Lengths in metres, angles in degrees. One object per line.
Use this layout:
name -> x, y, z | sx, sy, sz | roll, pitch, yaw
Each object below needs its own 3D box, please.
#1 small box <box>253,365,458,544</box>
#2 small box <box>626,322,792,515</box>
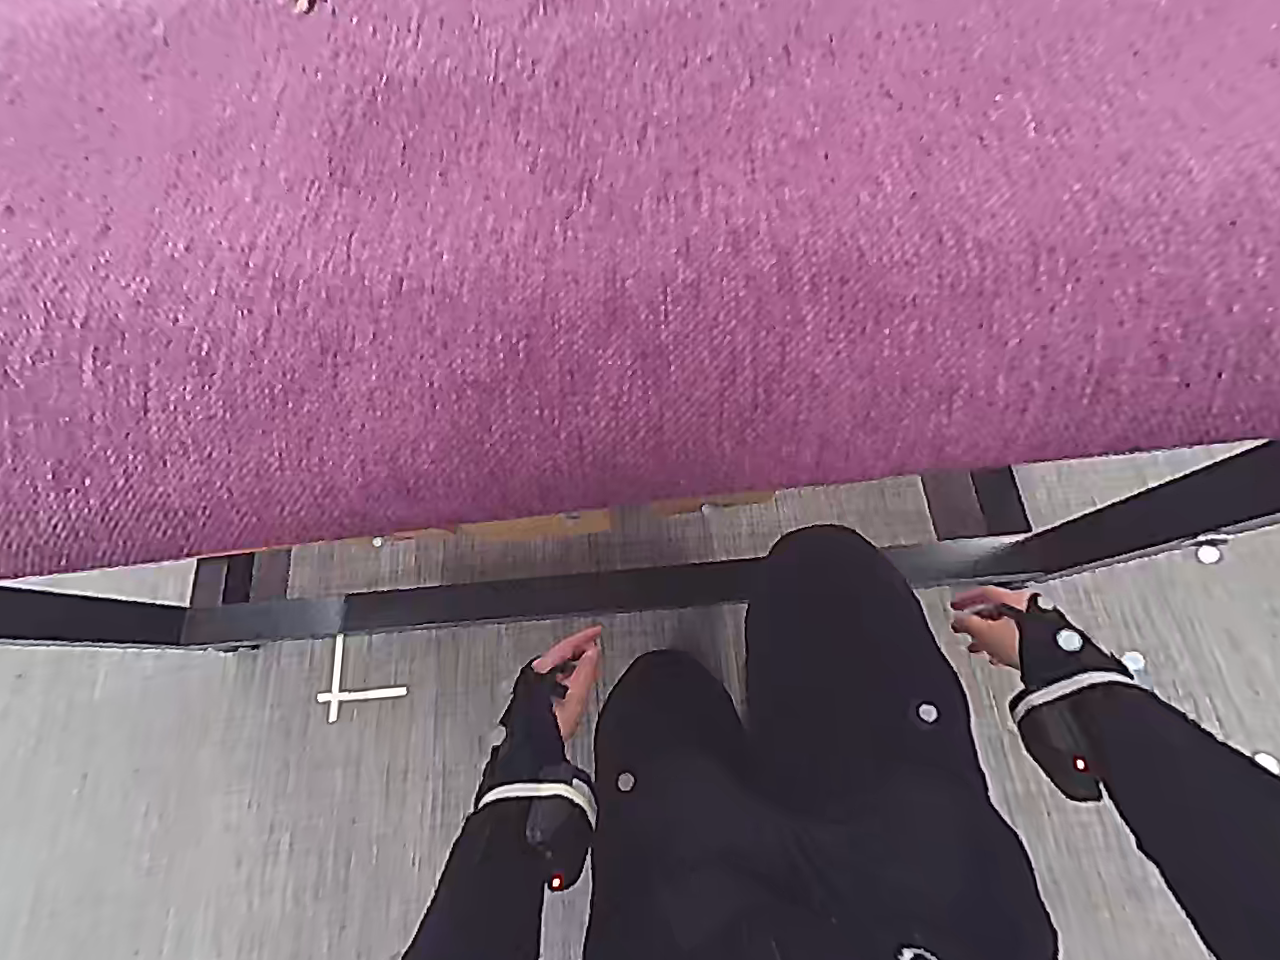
small box -> -0.345, -0.024, 0.693 | 0.168, 0.176, 0.179 | -6, 74, 3
small box -> 0.078, -0.067, 0.671 | 0.168, 0.176, 0.179 | -8, 74, 4
